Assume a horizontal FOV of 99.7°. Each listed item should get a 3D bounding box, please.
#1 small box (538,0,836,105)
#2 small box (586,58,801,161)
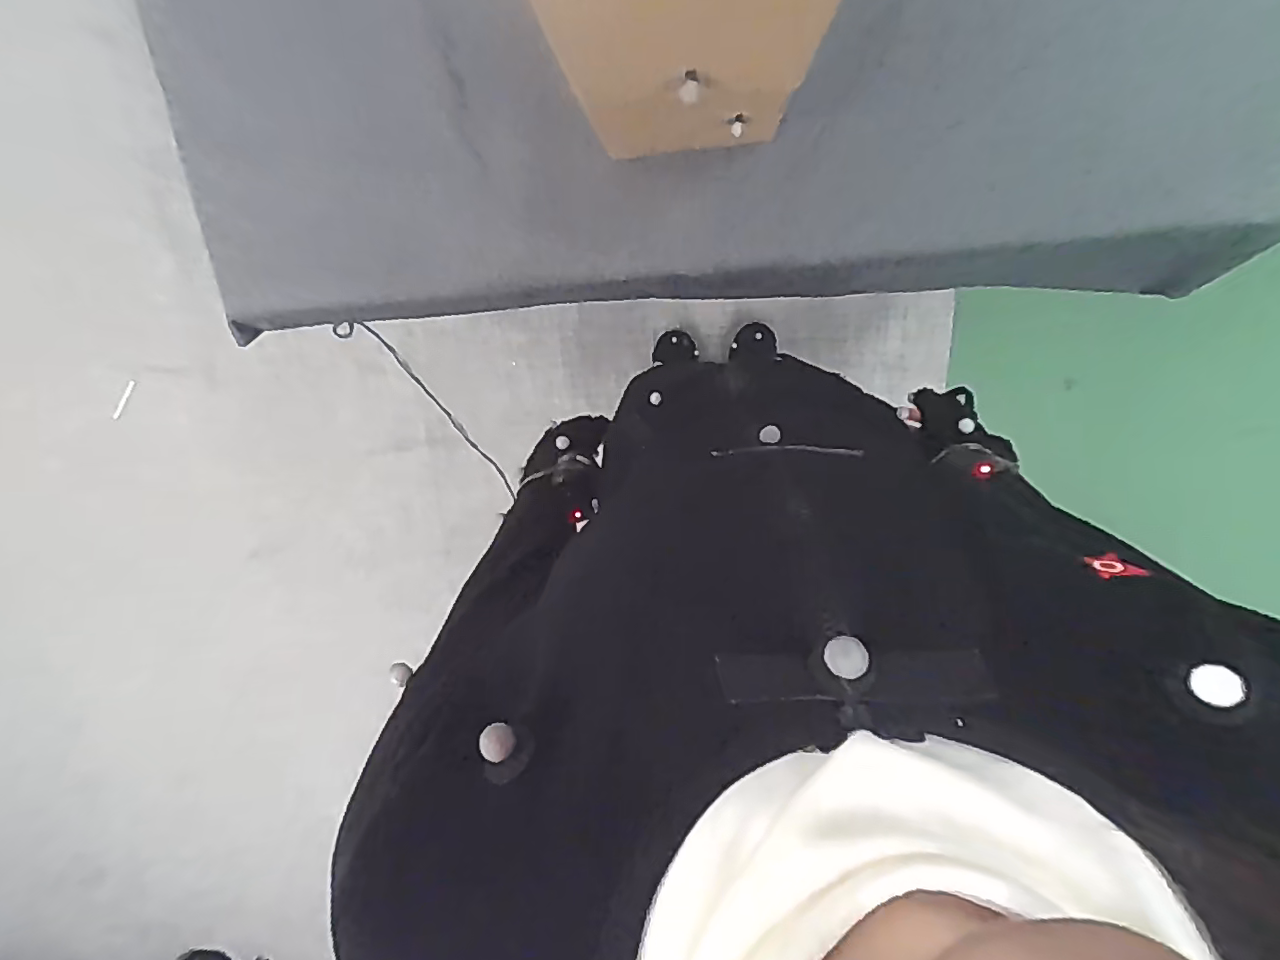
[{"bbox_3d":[0.029,-0.363,0.337,0.179,0.176,0.168,-2,106,5],"label":"small box"},{"bbox_3d":[0.043,-0.413,0.492,0.179,0.176,0.168,-4,105,8],"label":"small box"}]
